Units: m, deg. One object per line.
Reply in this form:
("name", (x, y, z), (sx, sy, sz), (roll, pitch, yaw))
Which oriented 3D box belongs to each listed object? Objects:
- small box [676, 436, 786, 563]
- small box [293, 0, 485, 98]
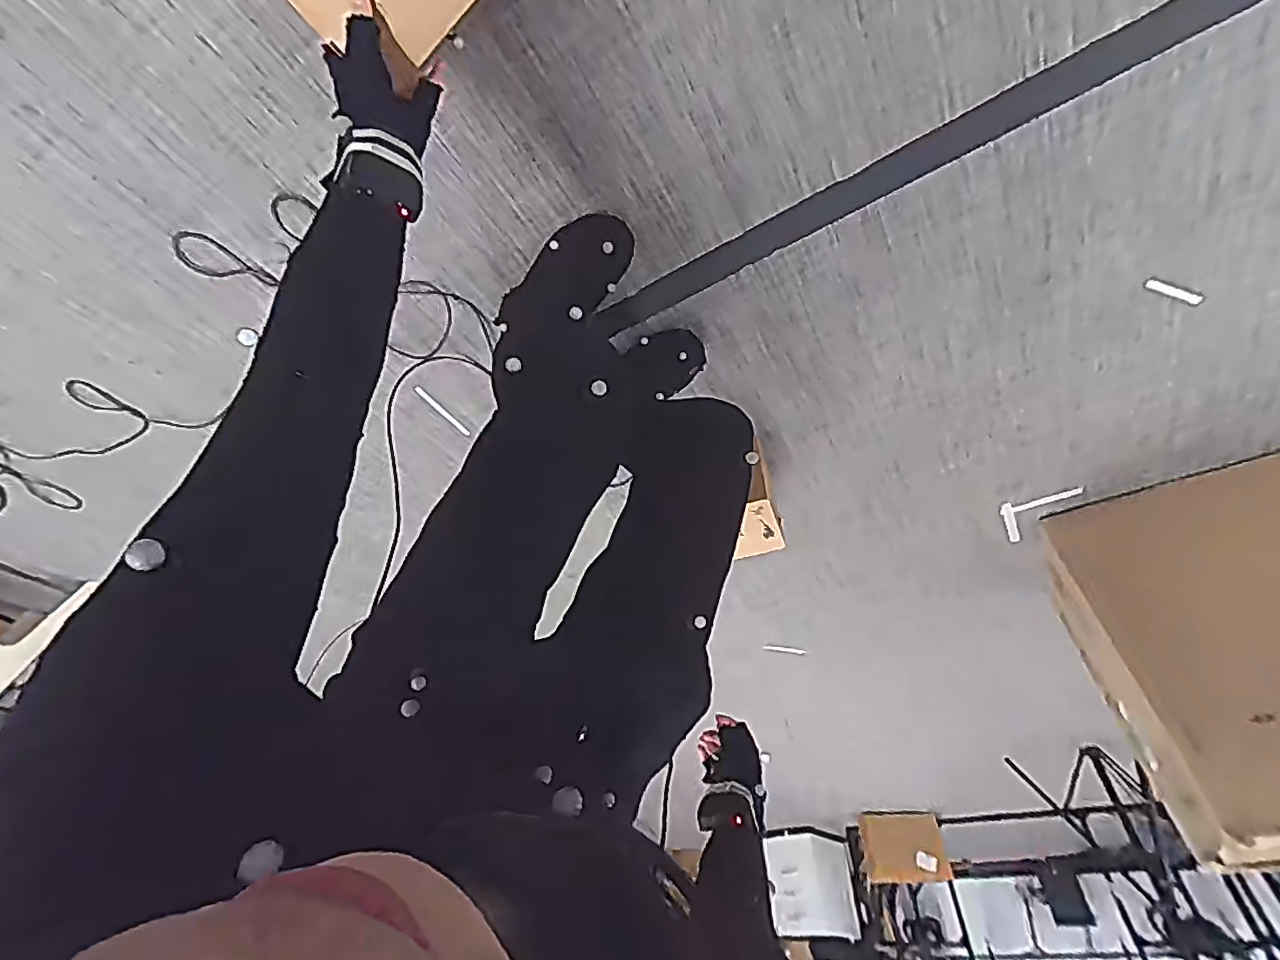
("small box", (0.180, 0.039, 1.080), (0.179, 0.176, 0.168), (-14, 136, 18))
("small box", (-0.226, -0.505, 0.493), (0.179, 0.176, 0.168), (-27, 132, 27))
